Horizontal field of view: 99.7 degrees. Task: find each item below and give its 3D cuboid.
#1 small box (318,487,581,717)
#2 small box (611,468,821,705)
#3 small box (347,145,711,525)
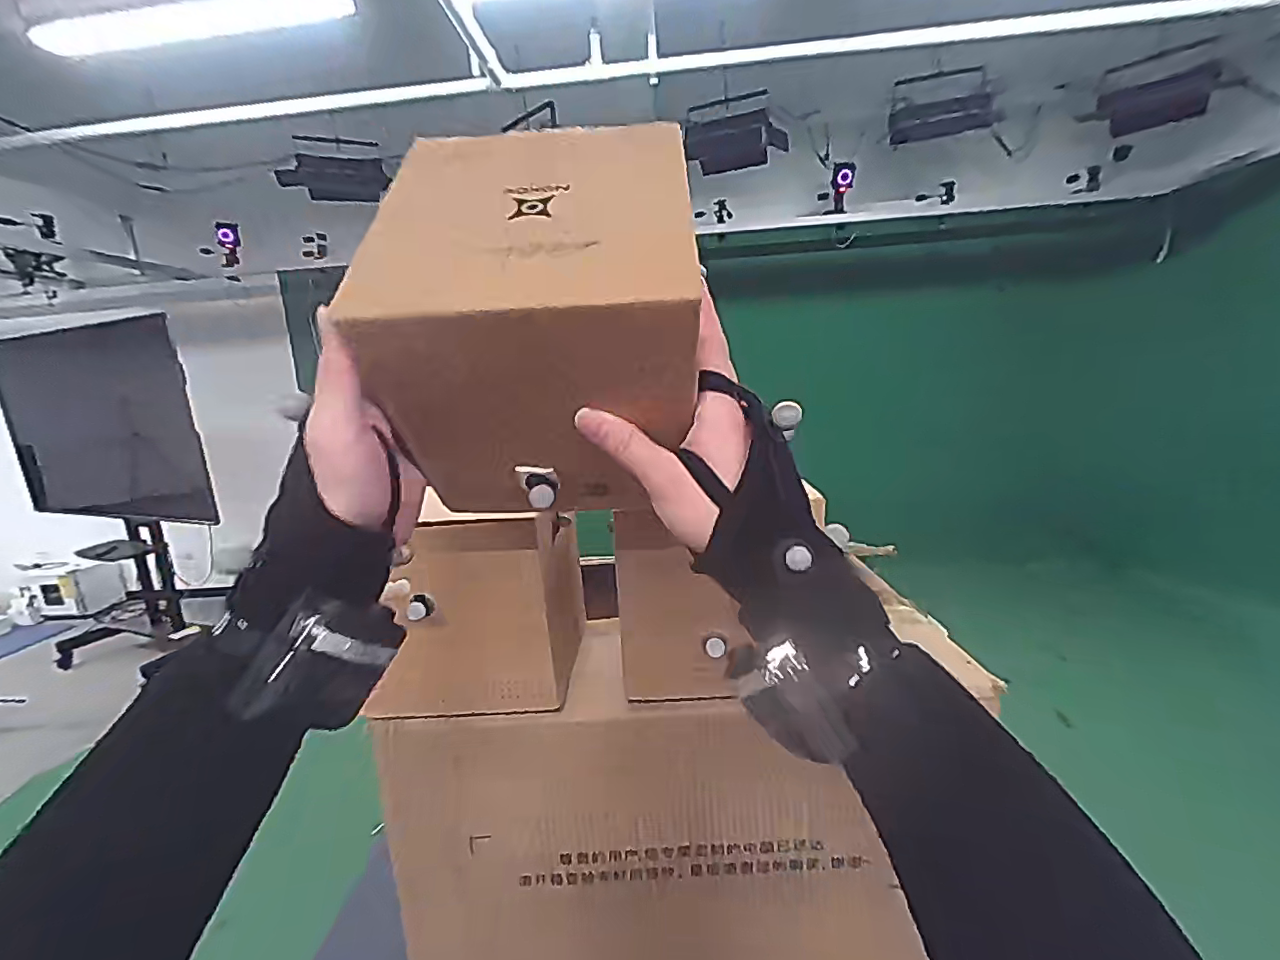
[{"bbox_3d":[-0.159,0.103,0.511,0.179,0.176,0.168,-3,13,2],"label":"small box"},{"bbox_3d":[0.062,0.088,0.514,0.168,0.176,0.179,-2,13,1],"label":"small box"},{"bbox_3d":[-0.049,-0.089,0.351,0.168,0.176,0.179,-2,54,1],"label":"small box"}]
